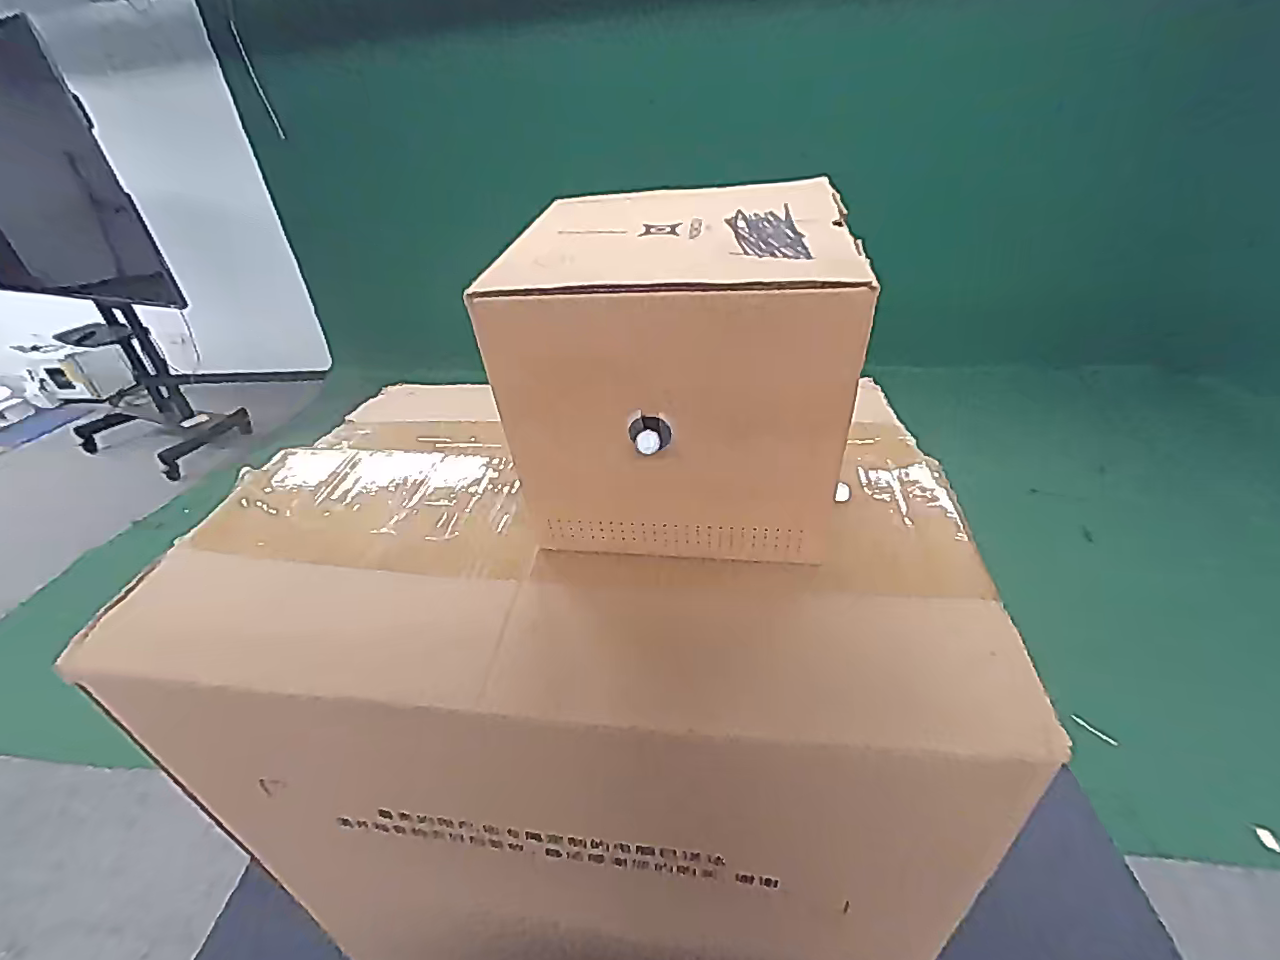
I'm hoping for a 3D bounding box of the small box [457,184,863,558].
[{"bbox_3d":[0.022,-0.067,0.337,0.179,0.176,0.168,2,41,10],"label":"small box"}]
